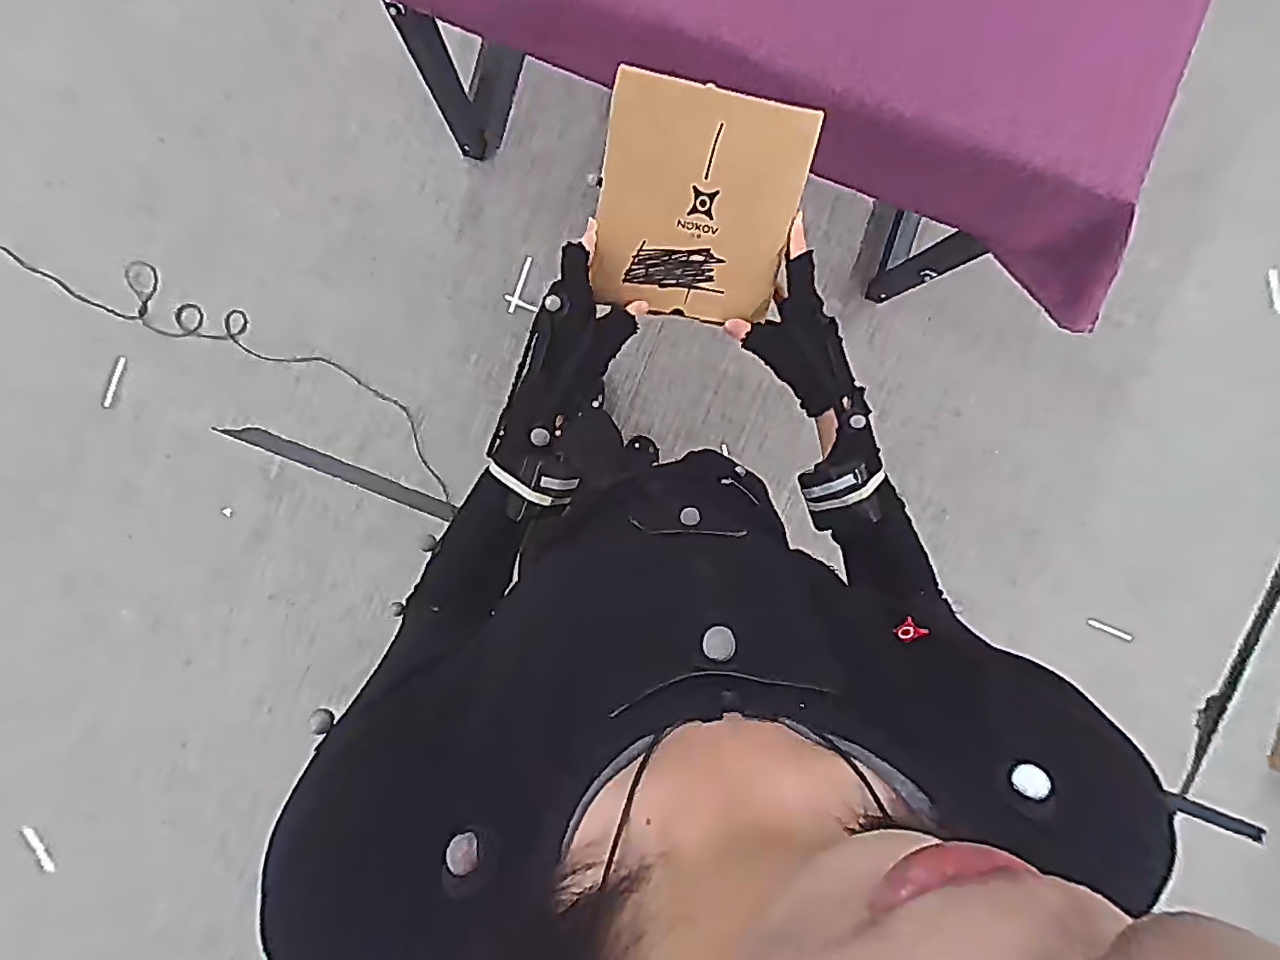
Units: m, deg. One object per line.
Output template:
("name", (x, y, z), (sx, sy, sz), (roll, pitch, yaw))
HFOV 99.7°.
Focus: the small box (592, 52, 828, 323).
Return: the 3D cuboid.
("small box", (0.049, -0.270, 0.520), (0.168, 0.176, 0.179), (7, 118, -9))
